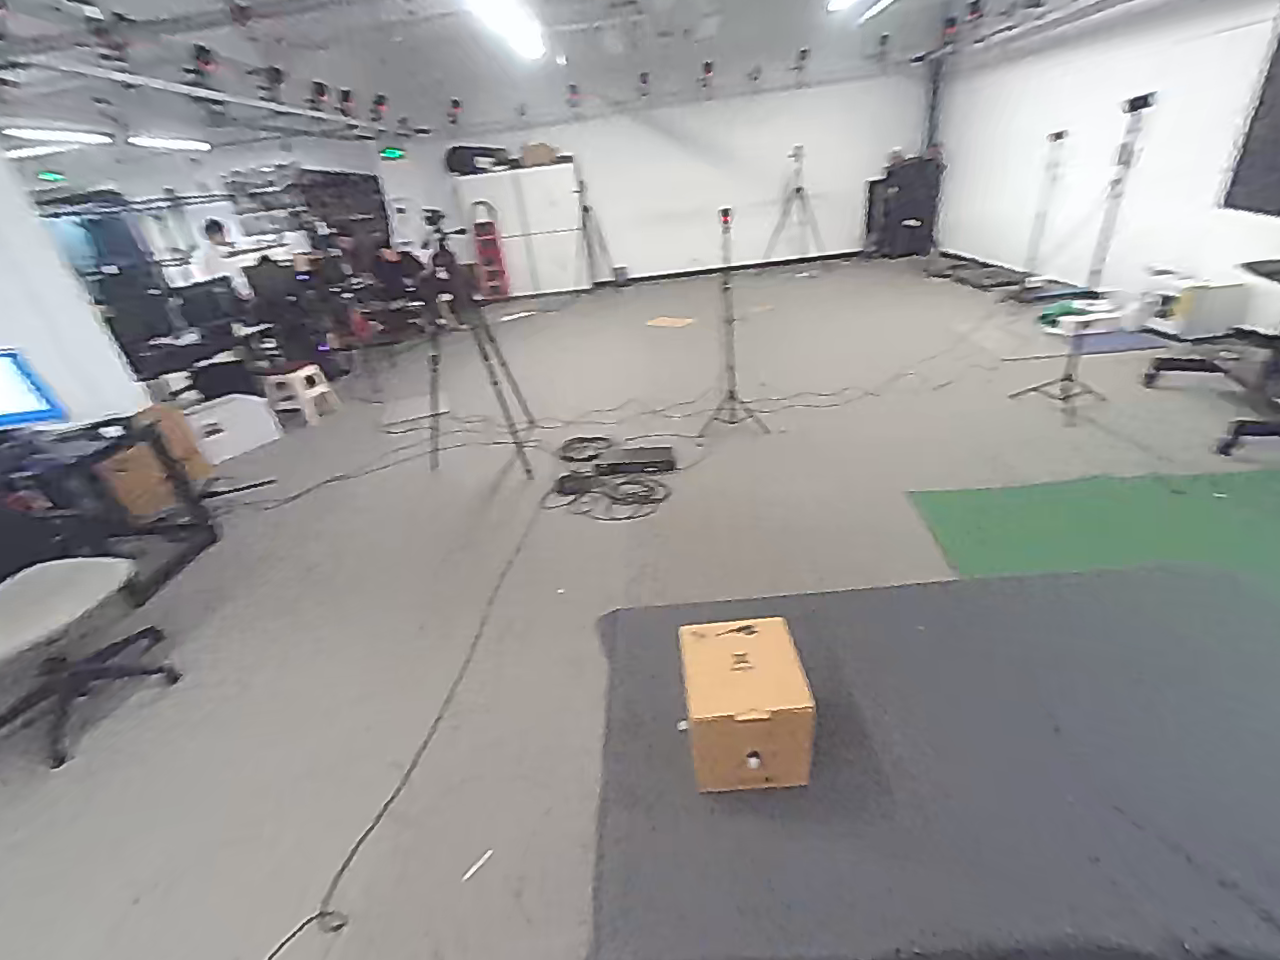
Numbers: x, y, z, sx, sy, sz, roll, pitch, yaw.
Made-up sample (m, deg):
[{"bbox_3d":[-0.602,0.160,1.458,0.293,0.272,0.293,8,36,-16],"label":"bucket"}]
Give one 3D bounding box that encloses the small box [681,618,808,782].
[{"bbox_3d":[0.156,0.341,0.834,0.168,0.176,0.179,-6,29,3],"label":"small box"}]
